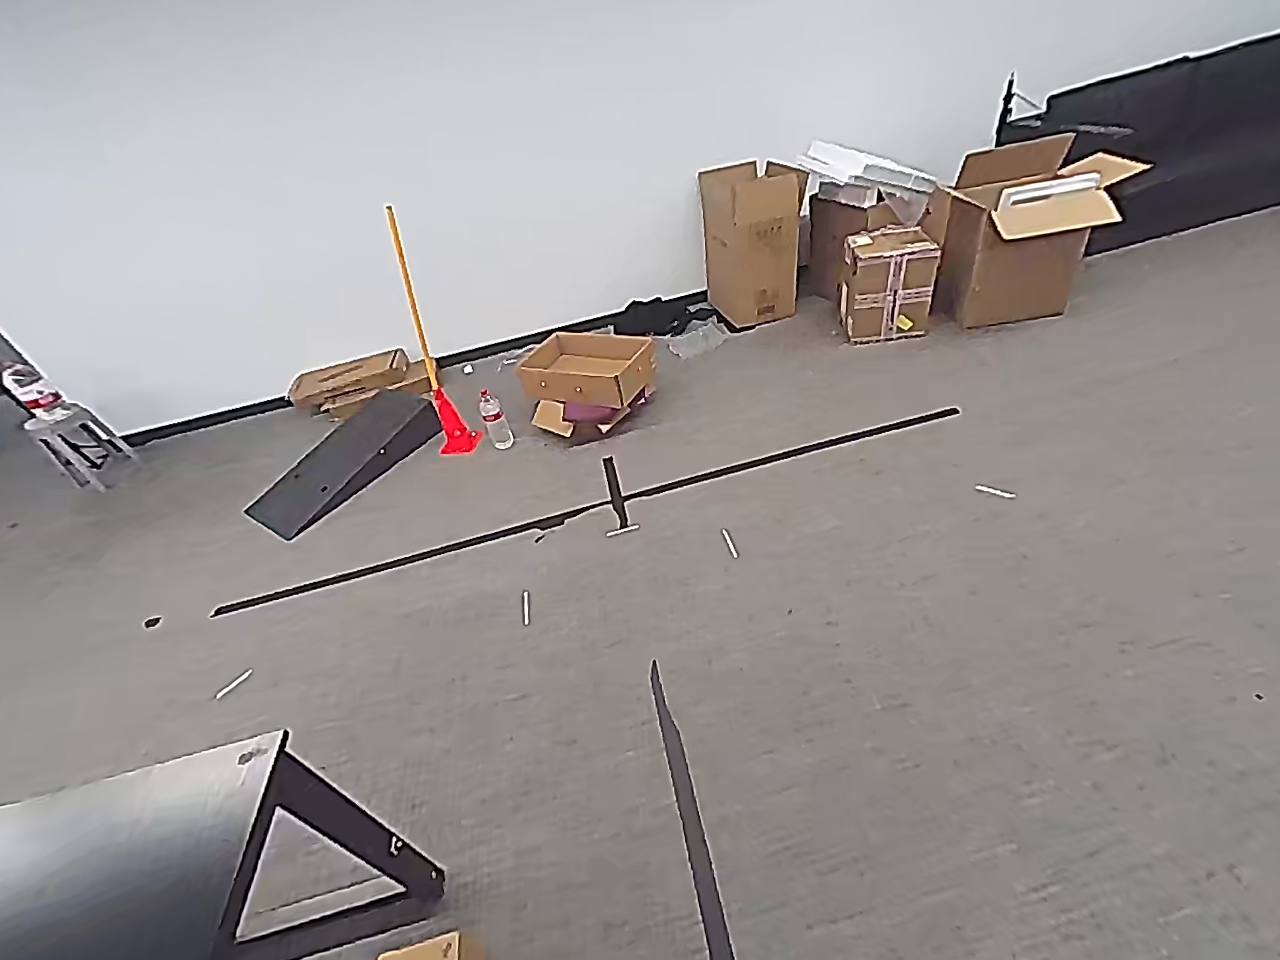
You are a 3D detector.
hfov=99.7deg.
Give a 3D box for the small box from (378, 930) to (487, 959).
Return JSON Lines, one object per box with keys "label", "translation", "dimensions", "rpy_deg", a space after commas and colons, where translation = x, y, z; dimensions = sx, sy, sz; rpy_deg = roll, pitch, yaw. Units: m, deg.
{"label": "small box", "translation": [-0.436, 1.082, 1.124], "dimensions": [0.179, 0.176, 0.168], "rpy_deg": [-16, 39, -3]}
